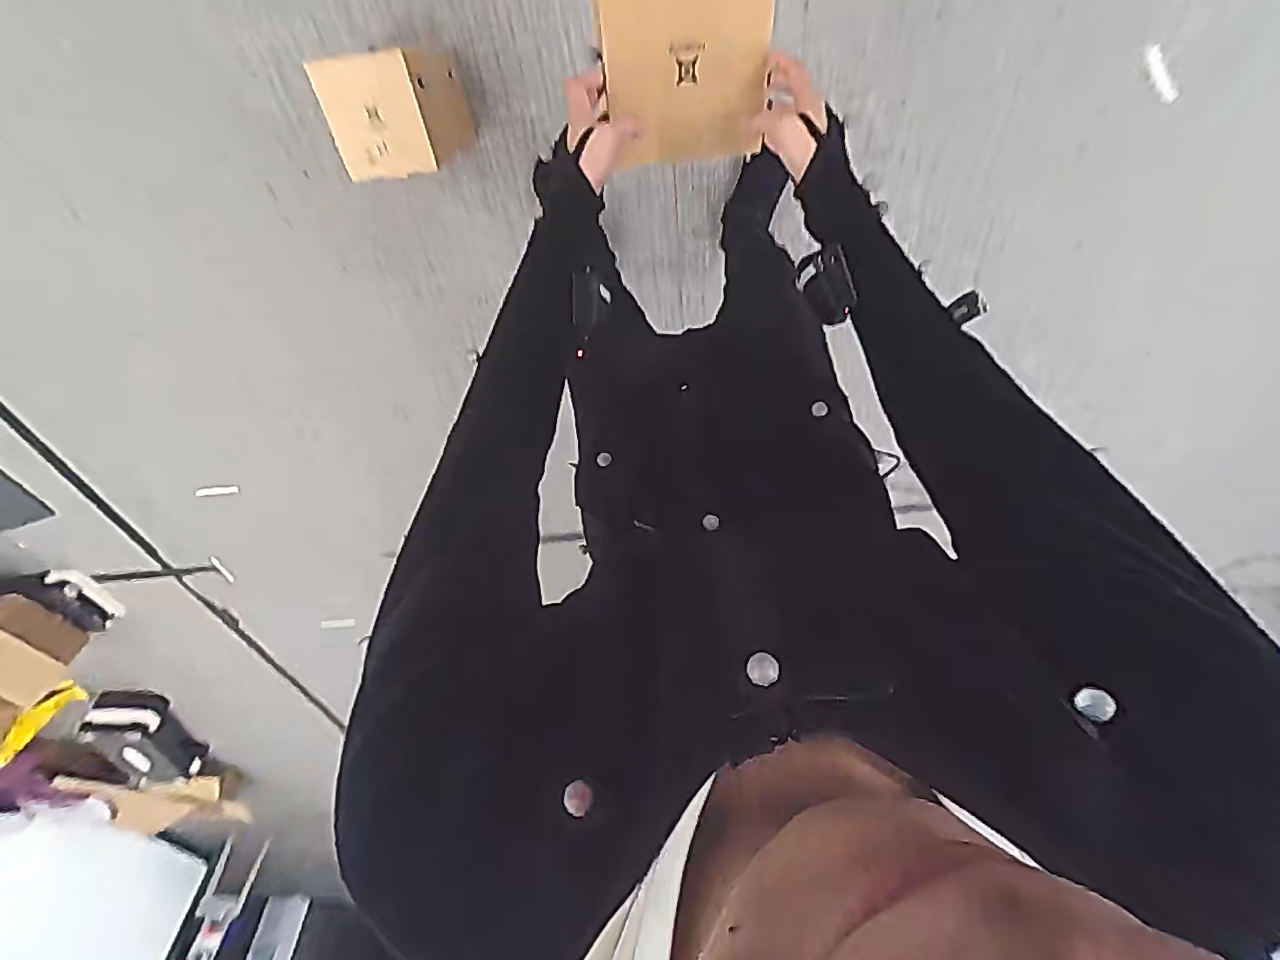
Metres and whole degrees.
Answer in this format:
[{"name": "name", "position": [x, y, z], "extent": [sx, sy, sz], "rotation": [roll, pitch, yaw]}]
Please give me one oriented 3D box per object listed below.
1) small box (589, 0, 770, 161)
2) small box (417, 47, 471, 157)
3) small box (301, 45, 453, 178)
[{"name": "small box", "position": [0.033, -0.469, 0.571], "extent": [0.168, 0.176, 0.179], "rotation": [-7, 139, 0]}, {"name": "small box", "position": [-0.462, -0.766, 1.103], "extent": [0.168, 0.176, 0.179], "rotation": [-5, 130, 3]}, {"name": "small box", "position": [-0.457, -0.666, 0.973], "extent": [0.168, 0.176, 0.179], "rotation": [-5, 131, 3]}]
